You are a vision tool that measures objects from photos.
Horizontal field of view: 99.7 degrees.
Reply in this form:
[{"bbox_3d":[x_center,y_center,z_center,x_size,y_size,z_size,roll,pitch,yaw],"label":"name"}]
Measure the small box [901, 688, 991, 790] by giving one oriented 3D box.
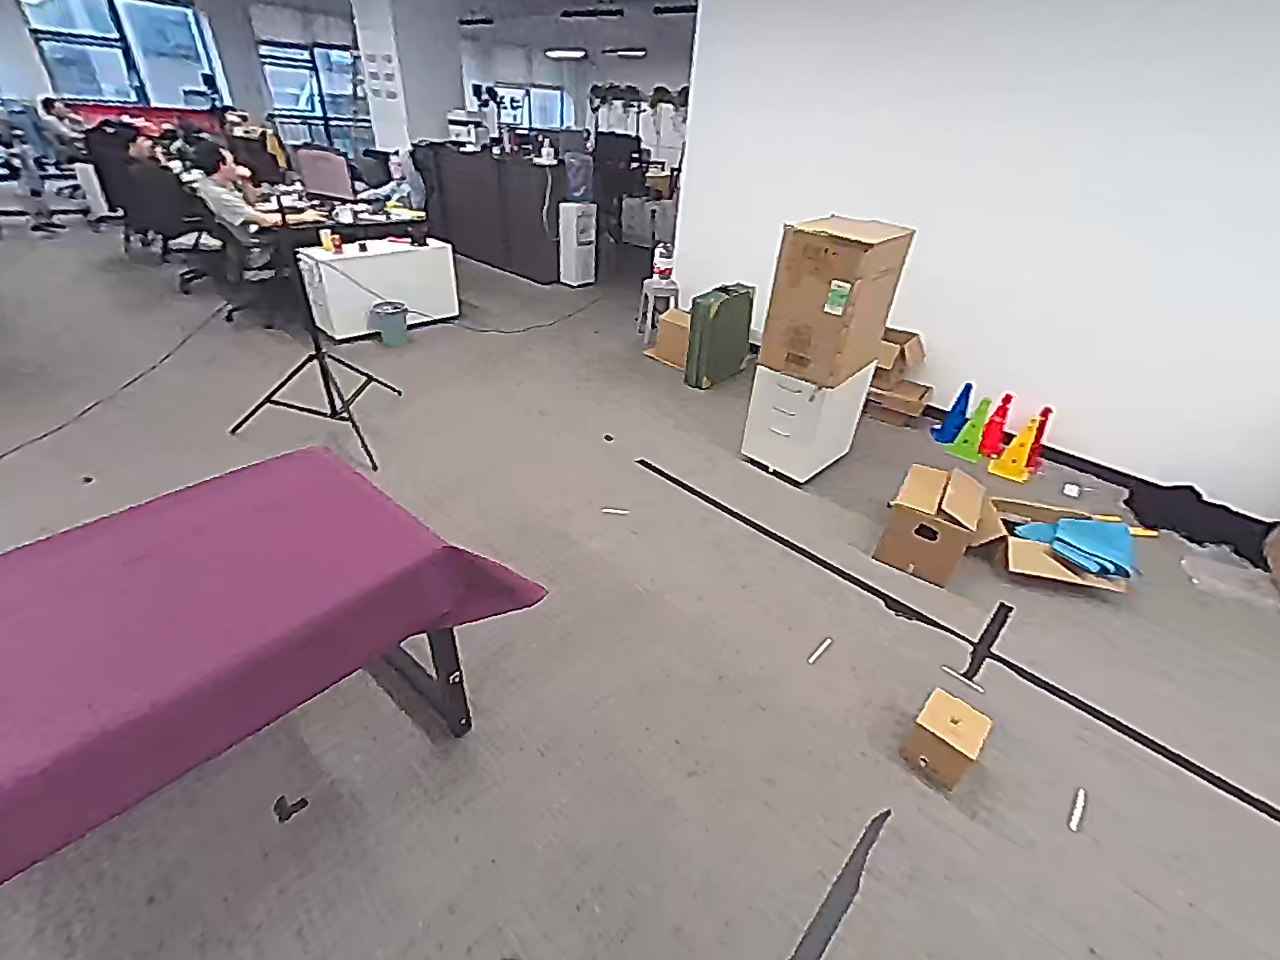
[{"bbox_3d":[0.912,0.776,1.622,0.168,0.176,0.179,30,42,34],"label":"small box"}]
